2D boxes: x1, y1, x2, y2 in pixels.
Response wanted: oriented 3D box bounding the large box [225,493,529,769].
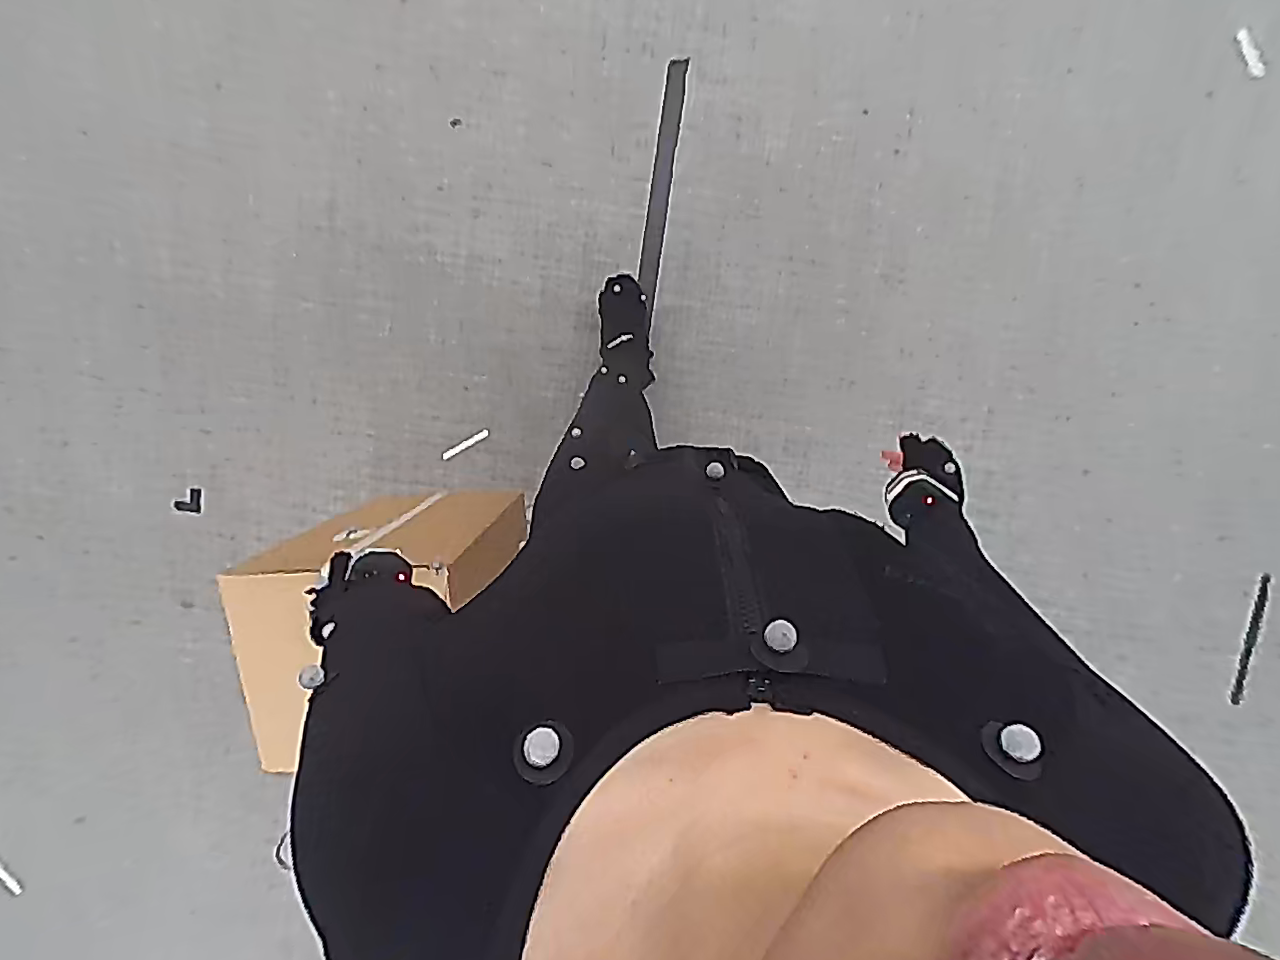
[{"bbox_3d":[-0.393,0.223,0.938,0.320,0.408,0.320,-4,103,2],"label":"large box"}]
